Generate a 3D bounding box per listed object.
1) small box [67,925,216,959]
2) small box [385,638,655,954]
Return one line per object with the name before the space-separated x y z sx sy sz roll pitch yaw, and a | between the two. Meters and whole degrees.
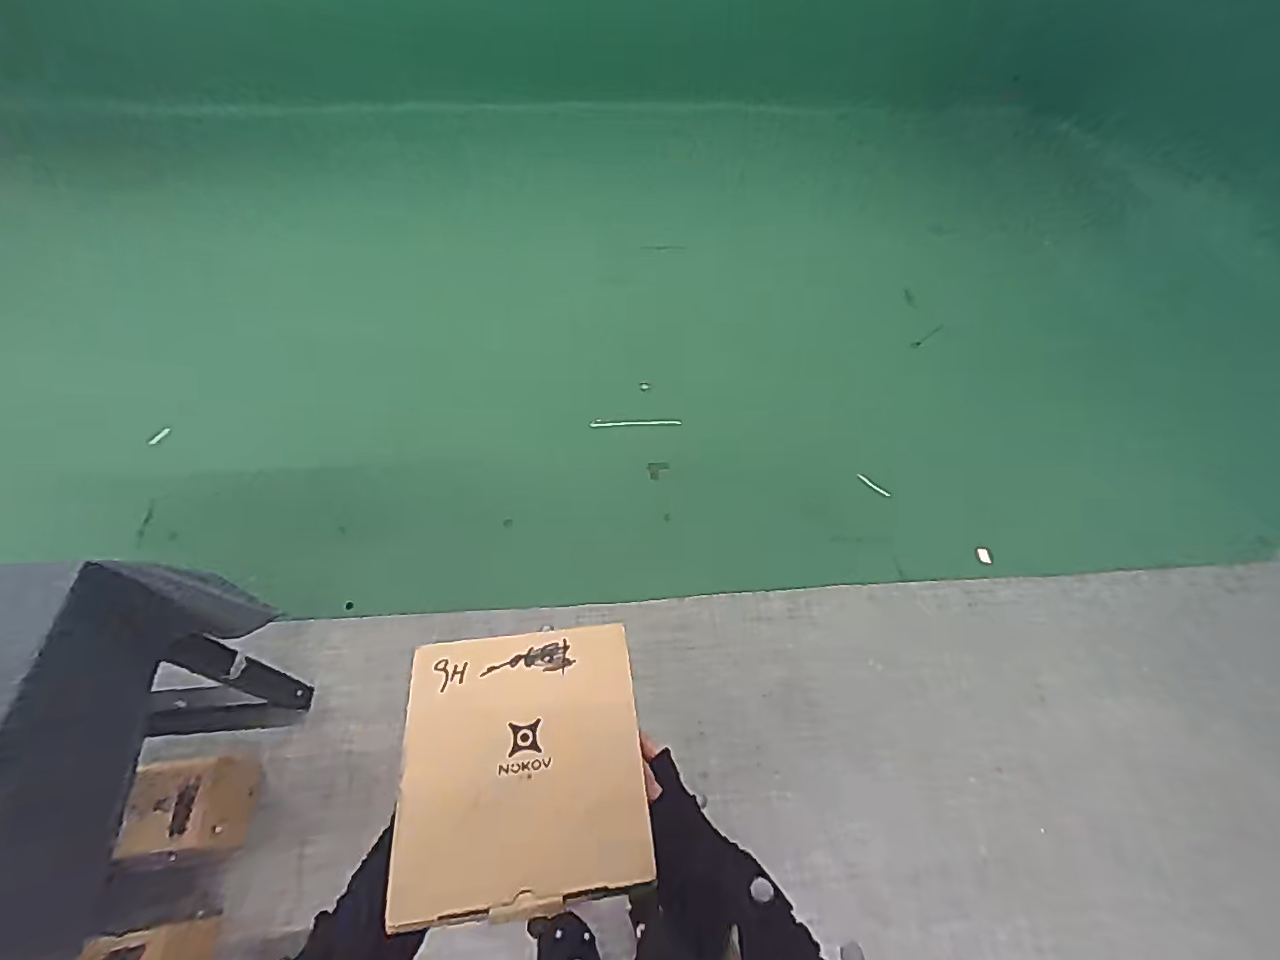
small box | -0.943 0.954 1.008 0.168 0.176 0.179 -5 57 -4
small box | -0.084 0.247 0.436 0.168 0.176 0.179 -4 53 -8
